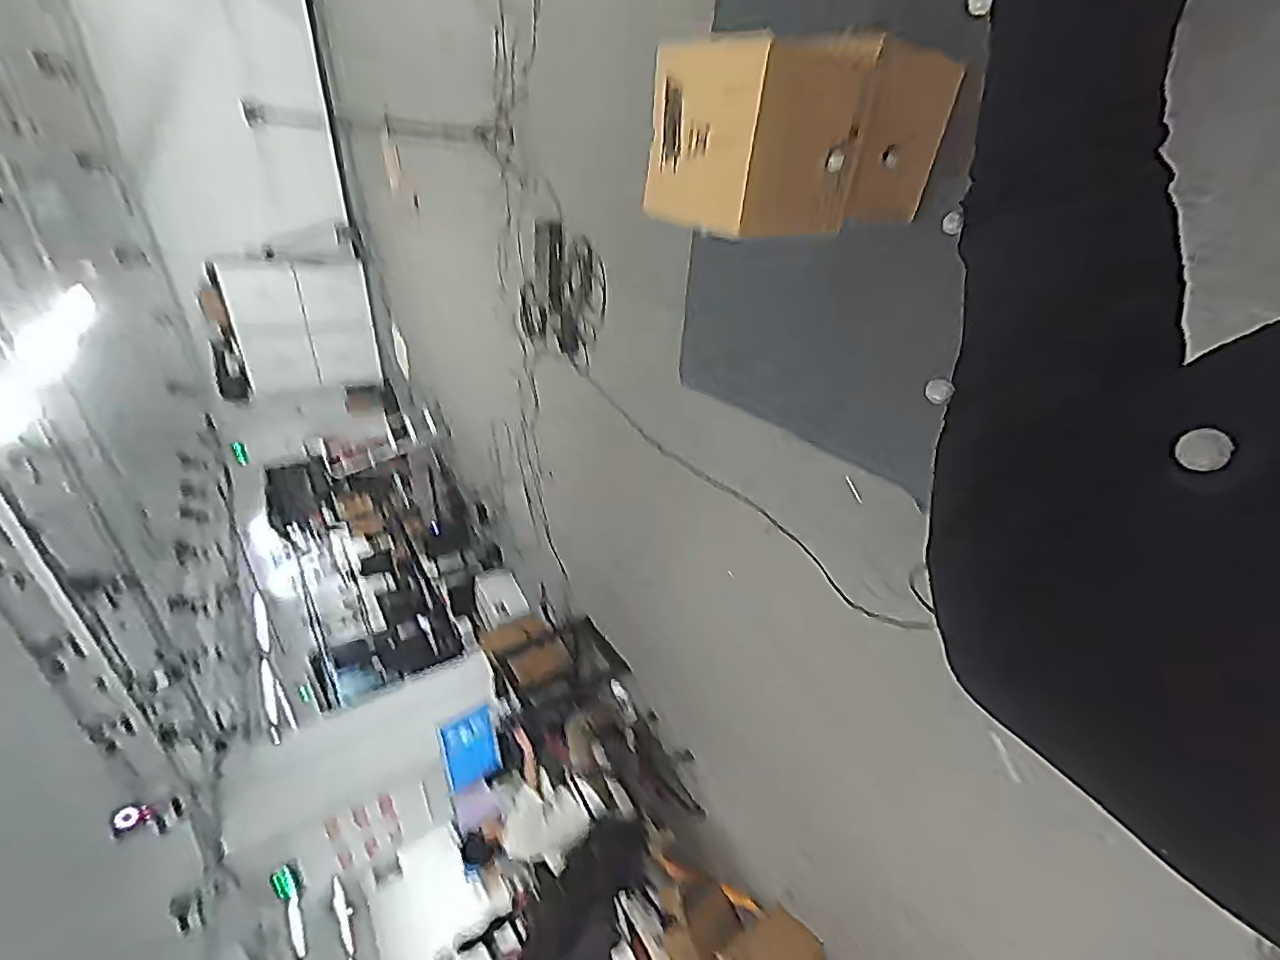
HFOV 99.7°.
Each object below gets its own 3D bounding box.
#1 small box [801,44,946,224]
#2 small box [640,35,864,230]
[{"bbox_3d":[0.255,-0.443,0.700,0.168,0.176,0.179,43,139,42],"label":"small box"},{"bbox_3d":[0.119,-0.387,0.625,0.179,0.176,0.168,40,136,46],"label":"small box"}]
